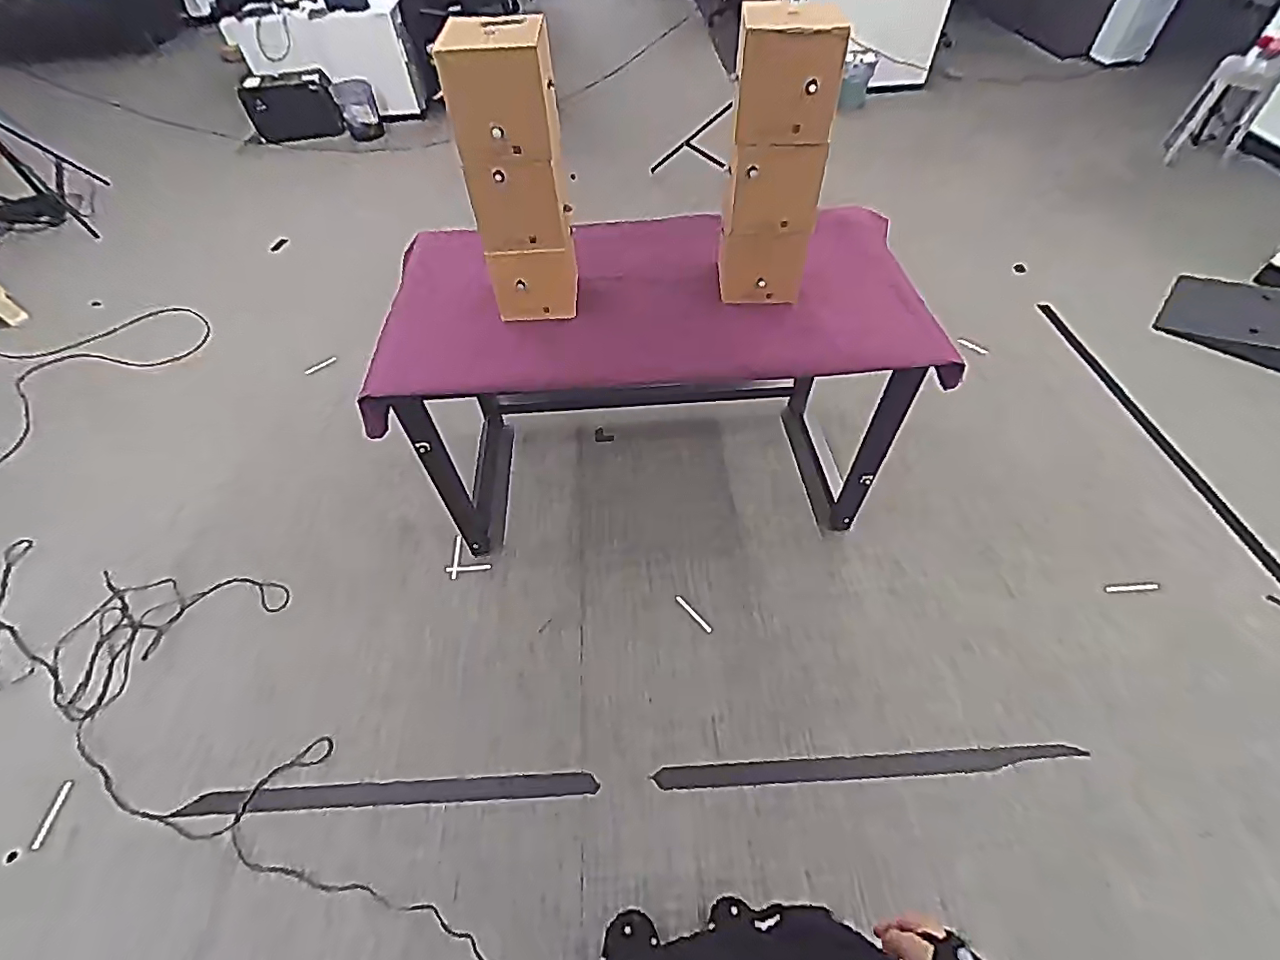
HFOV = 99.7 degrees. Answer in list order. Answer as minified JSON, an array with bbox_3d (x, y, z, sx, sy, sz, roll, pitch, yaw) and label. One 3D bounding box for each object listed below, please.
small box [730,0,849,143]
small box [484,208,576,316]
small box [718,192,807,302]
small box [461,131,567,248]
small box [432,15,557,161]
[{"bbox_3d":[0.252,-0.718,0.955,0.168,0.176,0.179,3,51,3],"label":"small box"},{"bbox_3d":[-0.235,-0.480,1.205,0.168,0.176,0.179,-3,52,0],"label":"small box"},{"bbox_3d":[0.266,-0.525,1.218,0.168,0.176,0.179,0,53,3],"label":"small box"},{"bbox_3d":[-0.241,-0.585,1.078,0.168,0.176,0.179,-4,52,0],"label":"small box"},{"bbox_3d":[-0.241,-0.684,0.946,0.168,0.176,0.179,-3,53,0],"label":"small box"}]
